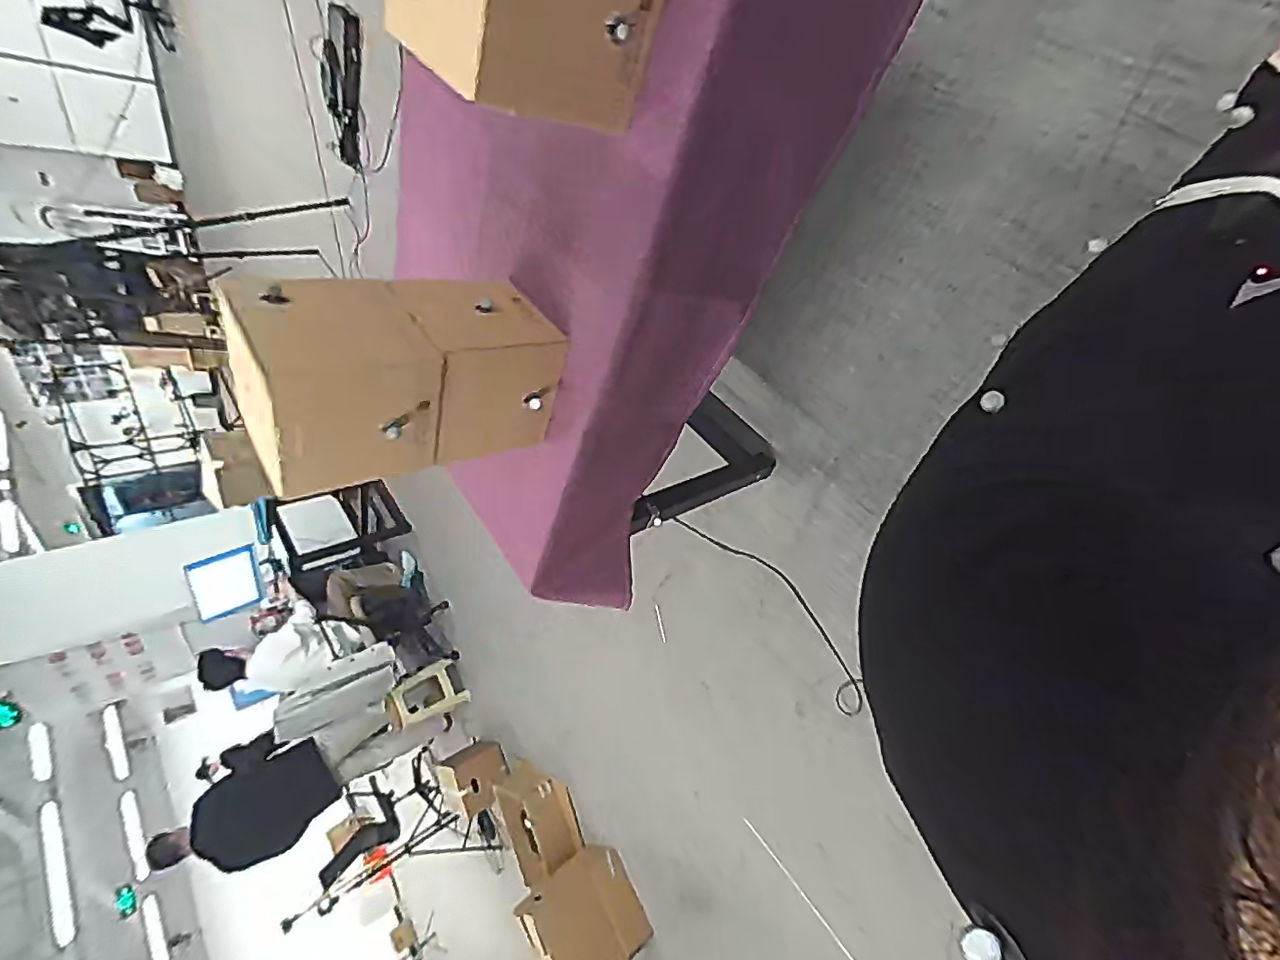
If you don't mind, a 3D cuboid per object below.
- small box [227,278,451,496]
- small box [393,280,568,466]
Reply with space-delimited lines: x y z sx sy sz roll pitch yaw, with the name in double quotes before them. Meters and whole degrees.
"small box" -0.341 -0.112 0.622 0.179 0.176 0.168 48 135 25
"small box" -0.218 -0.149 0.727 0.168 0.176 0.179 47 133 27
